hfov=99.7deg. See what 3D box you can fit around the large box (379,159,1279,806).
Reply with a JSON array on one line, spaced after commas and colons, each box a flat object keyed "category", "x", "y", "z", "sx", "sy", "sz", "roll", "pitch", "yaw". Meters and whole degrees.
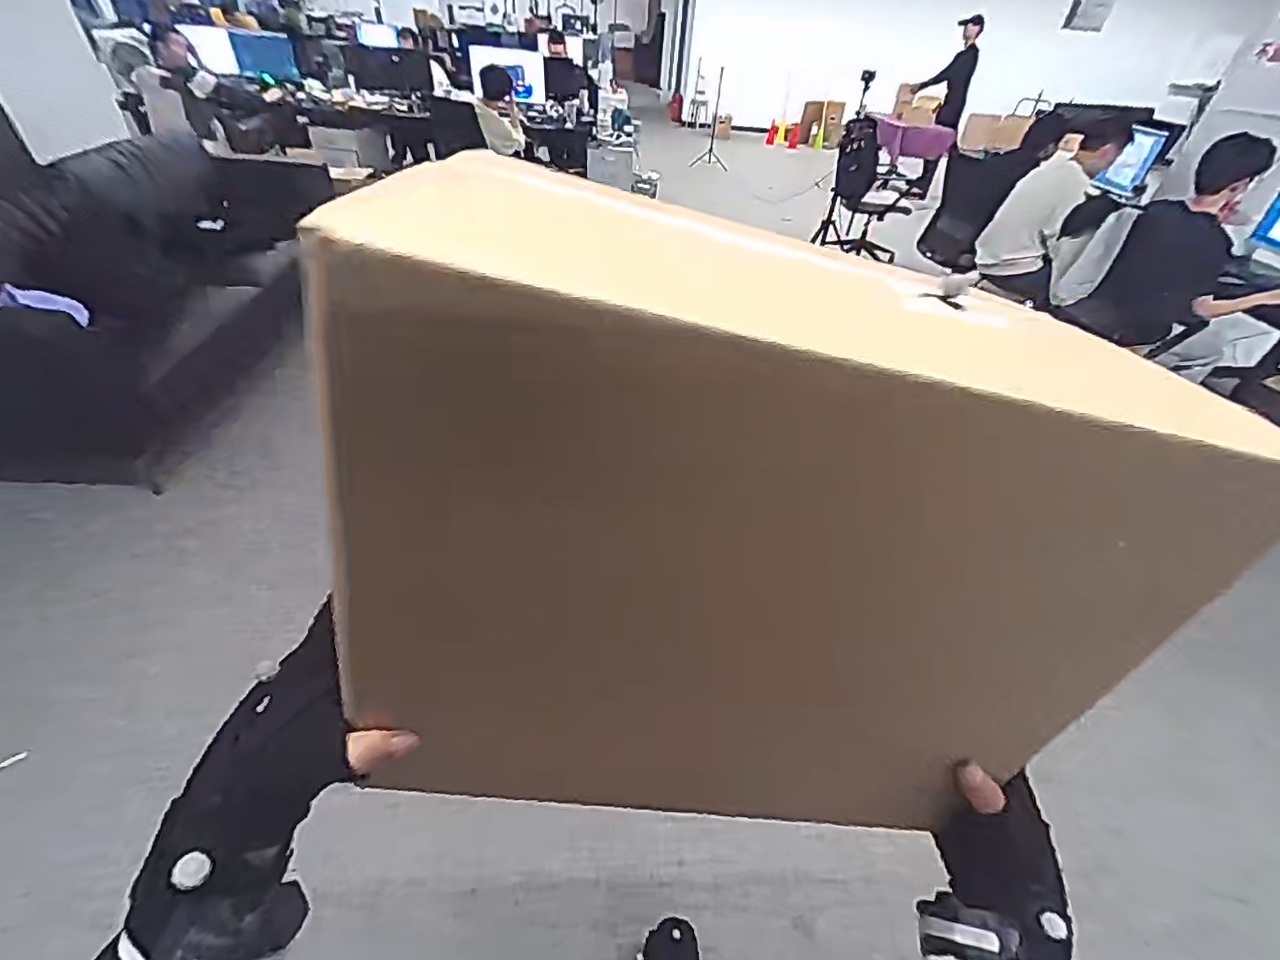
[{"category": "large box", "x": 0.065, "y": 0.002, "z": 0.401, "sx": 0.408, "sy": 0.320, "sz": 0.320, "roll": 12, "pitch": 33, "yaw": -12}]
